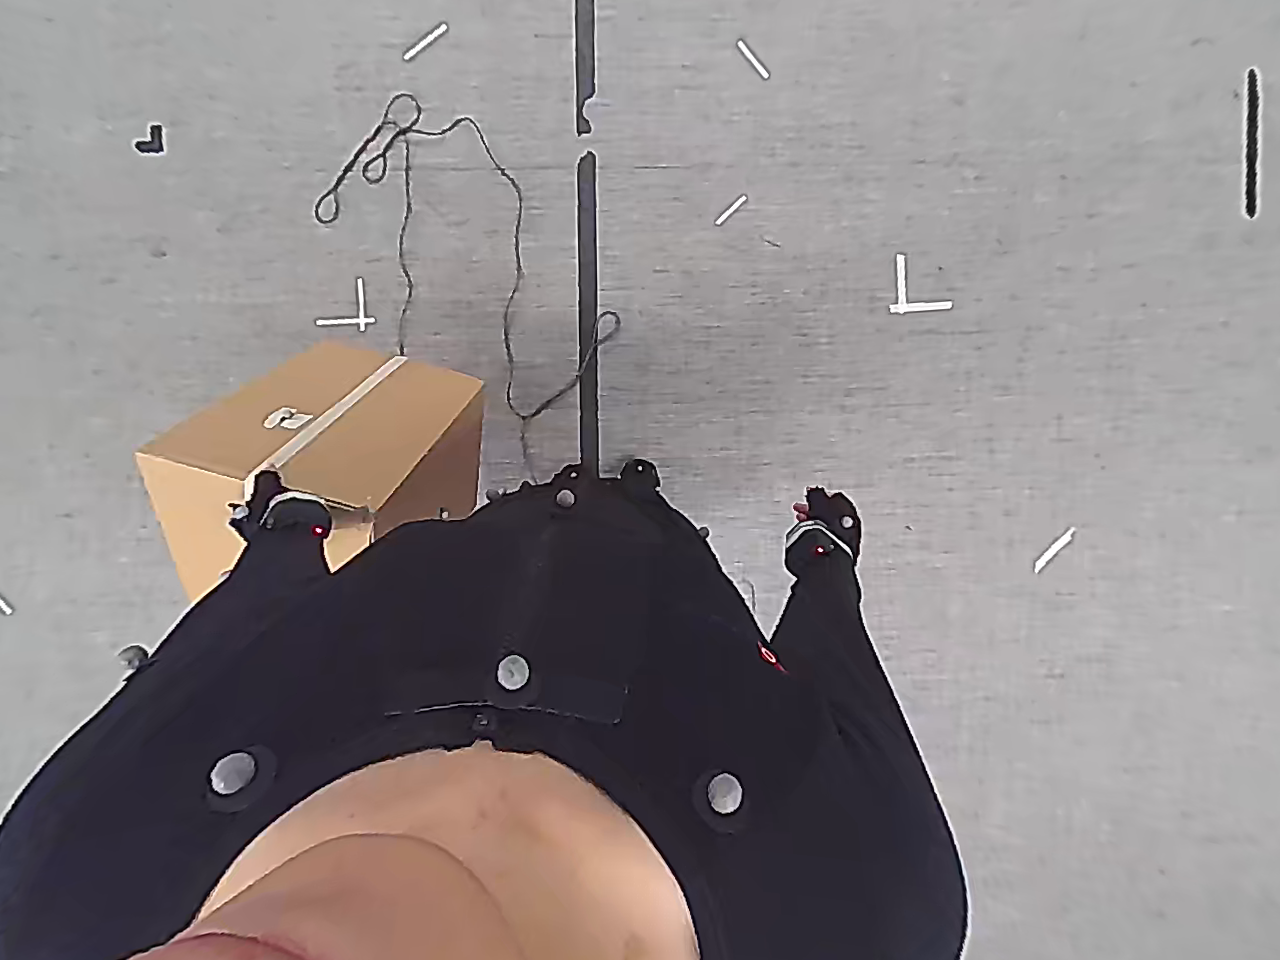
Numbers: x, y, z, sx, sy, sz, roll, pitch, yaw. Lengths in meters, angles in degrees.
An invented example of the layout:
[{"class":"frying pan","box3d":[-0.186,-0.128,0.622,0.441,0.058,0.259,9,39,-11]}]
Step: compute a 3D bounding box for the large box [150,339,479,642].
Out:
[{"class":"large box","box3d":[-0.507,0.004,0.955,0.320,0.408,0.320,14,127,-1]}]
